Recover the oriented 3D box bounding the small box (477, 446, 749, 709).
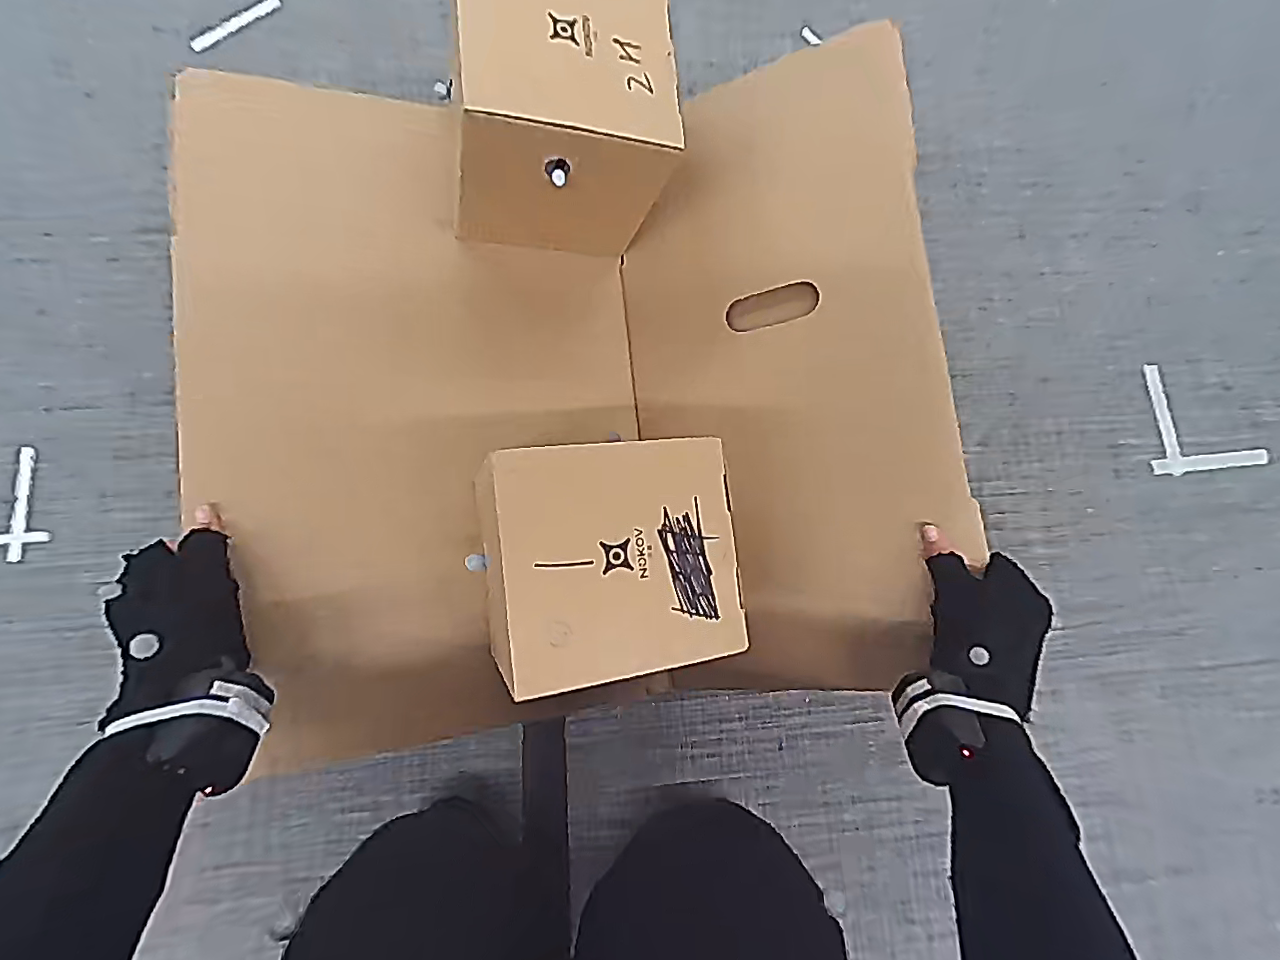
[{"bbox_3d":[-0.035,0.067,0.449,0.179,0.176,0.168,-5,85,-20],"label":"small box"}]
